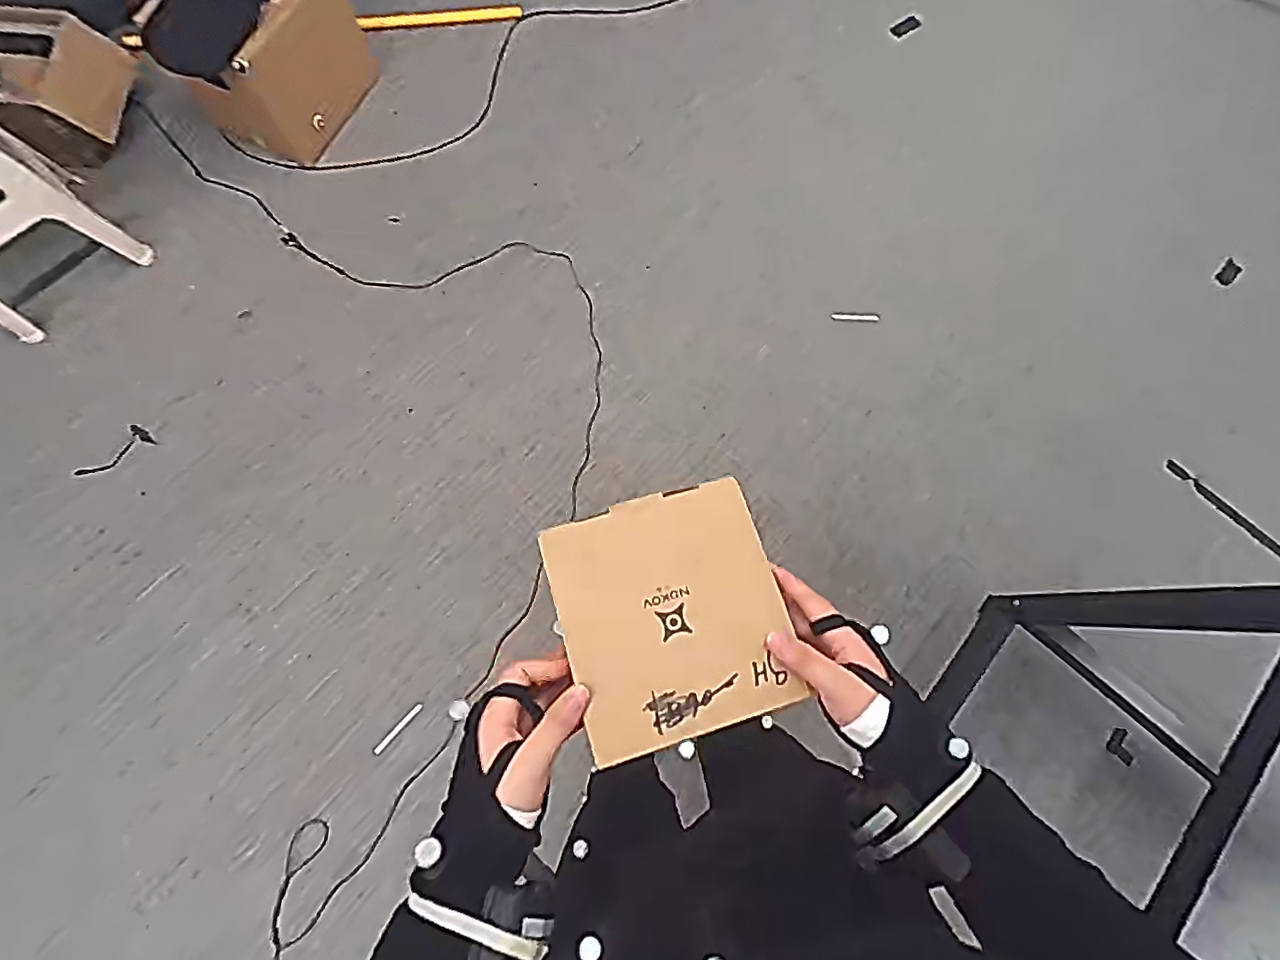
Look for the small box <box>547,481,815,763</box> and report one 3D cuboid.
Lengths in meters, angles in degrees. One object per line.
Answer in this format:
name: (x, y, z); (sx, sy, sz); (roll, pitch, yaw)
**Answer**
small box: (0.024, 0.125, 0.484); (0.168, 0.176, 0.179); (-16, 72, -6)
